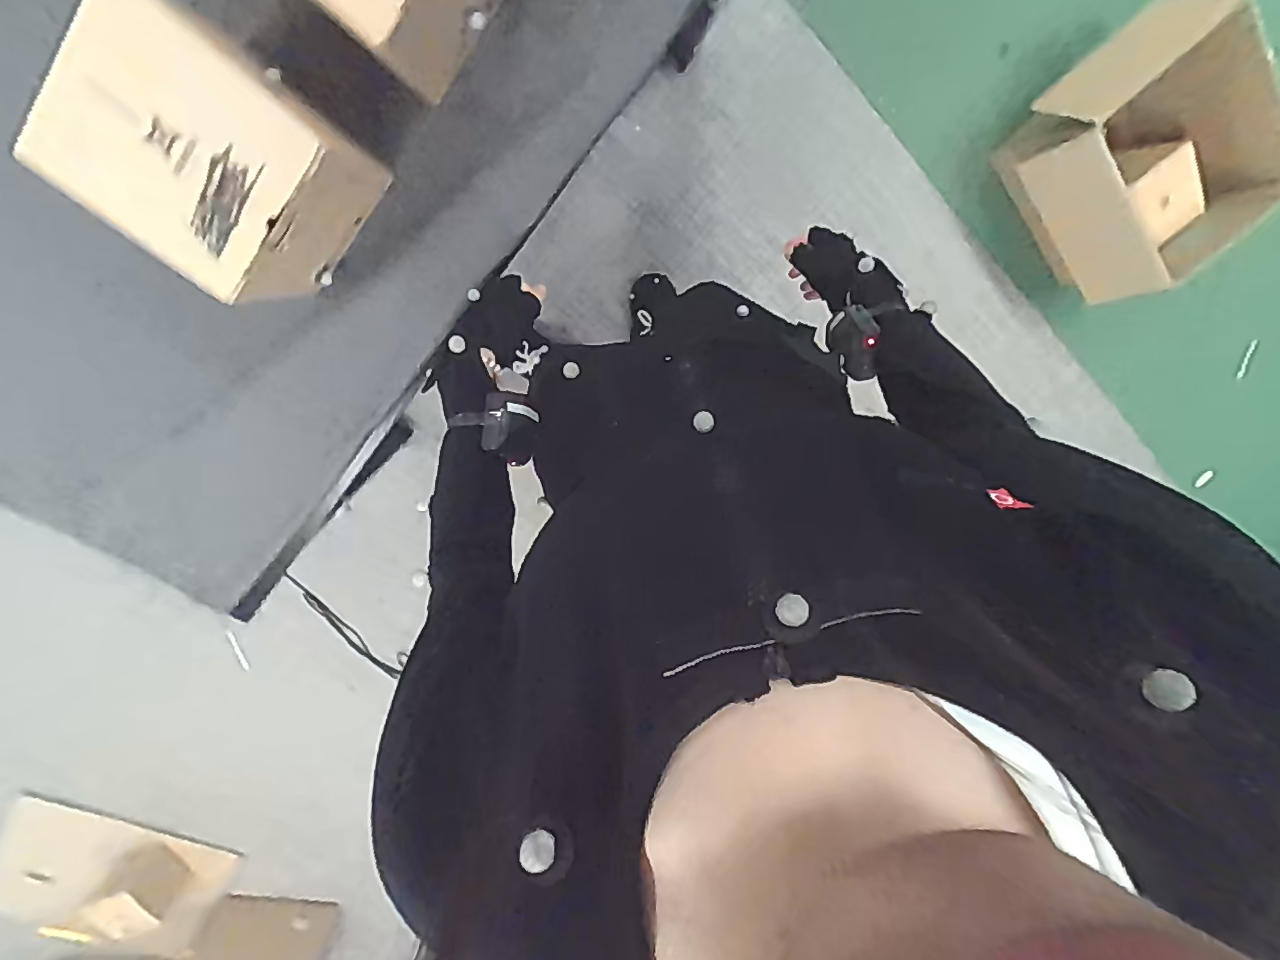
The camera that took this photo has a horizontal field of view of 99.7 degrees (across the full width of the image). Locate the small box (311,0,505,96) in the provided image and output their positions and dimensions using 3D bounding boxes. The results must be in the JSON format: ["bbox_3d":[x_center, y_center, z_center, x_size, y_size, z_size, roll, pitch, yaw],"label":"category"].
[{"bbox_3d":[-0.223,-0.469,0.449,0.179,0.176,0.168,36,105,-17],"label":"small box"}]

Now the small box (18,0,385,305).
[{"bbox_3d":[-0.377,-0.290,0.504,0.179,0.176,0.168,38,103,-17],"label":"small box"}]
